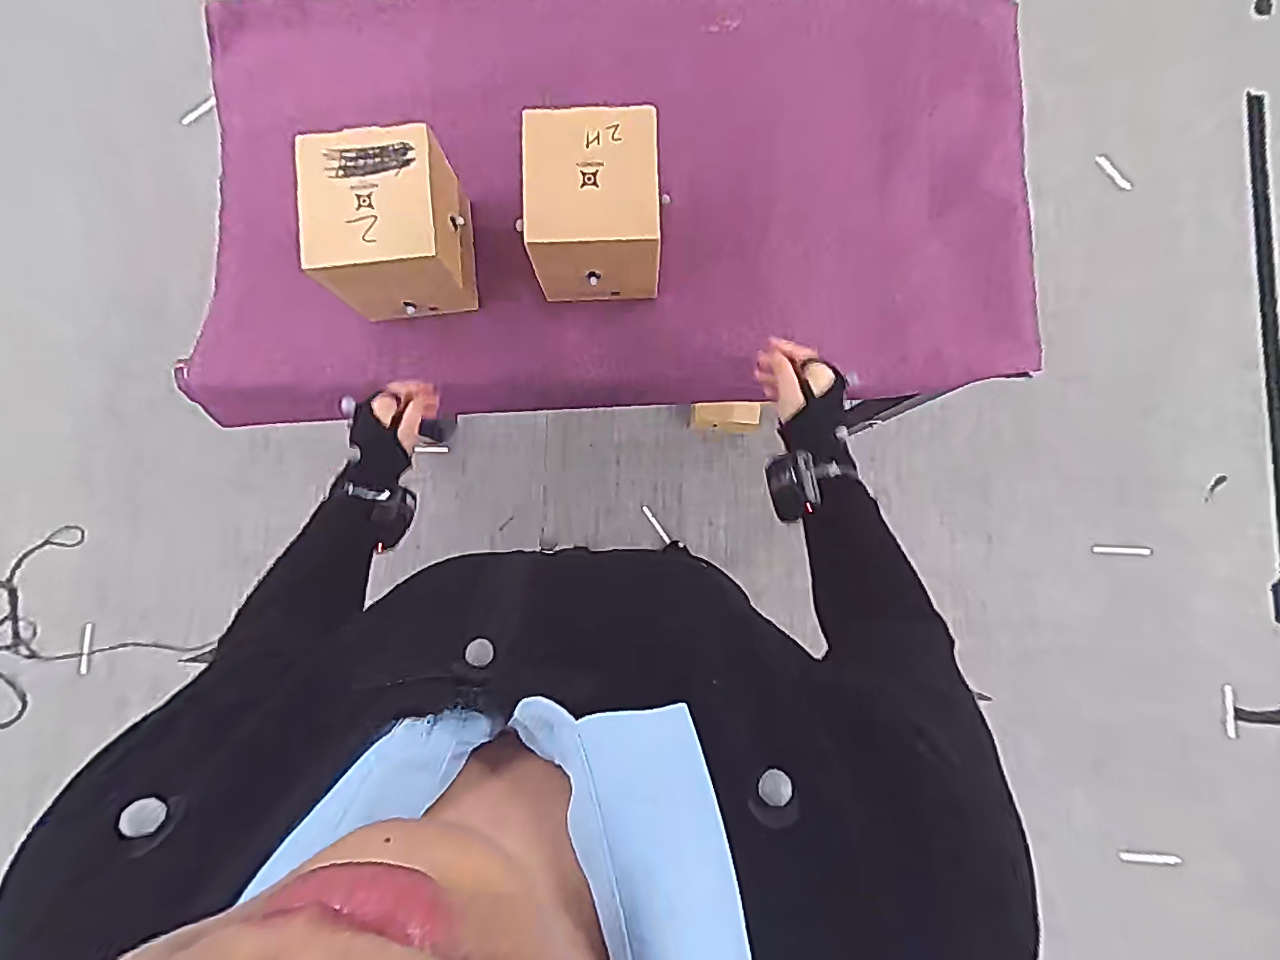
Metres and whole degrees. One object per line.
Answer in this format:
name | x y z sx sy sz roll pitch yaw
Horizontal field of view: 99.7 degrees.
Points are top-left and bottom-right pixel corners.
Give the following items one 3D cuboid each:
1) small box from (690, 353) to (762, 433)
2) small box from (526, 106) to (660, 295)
small box | 0.226 -0.228 1.457 0.168 0.176 0.179 5 85 1
small box | -0.057 -0.365 0.737 0.168 0.176 0.179 -1 84 -1
